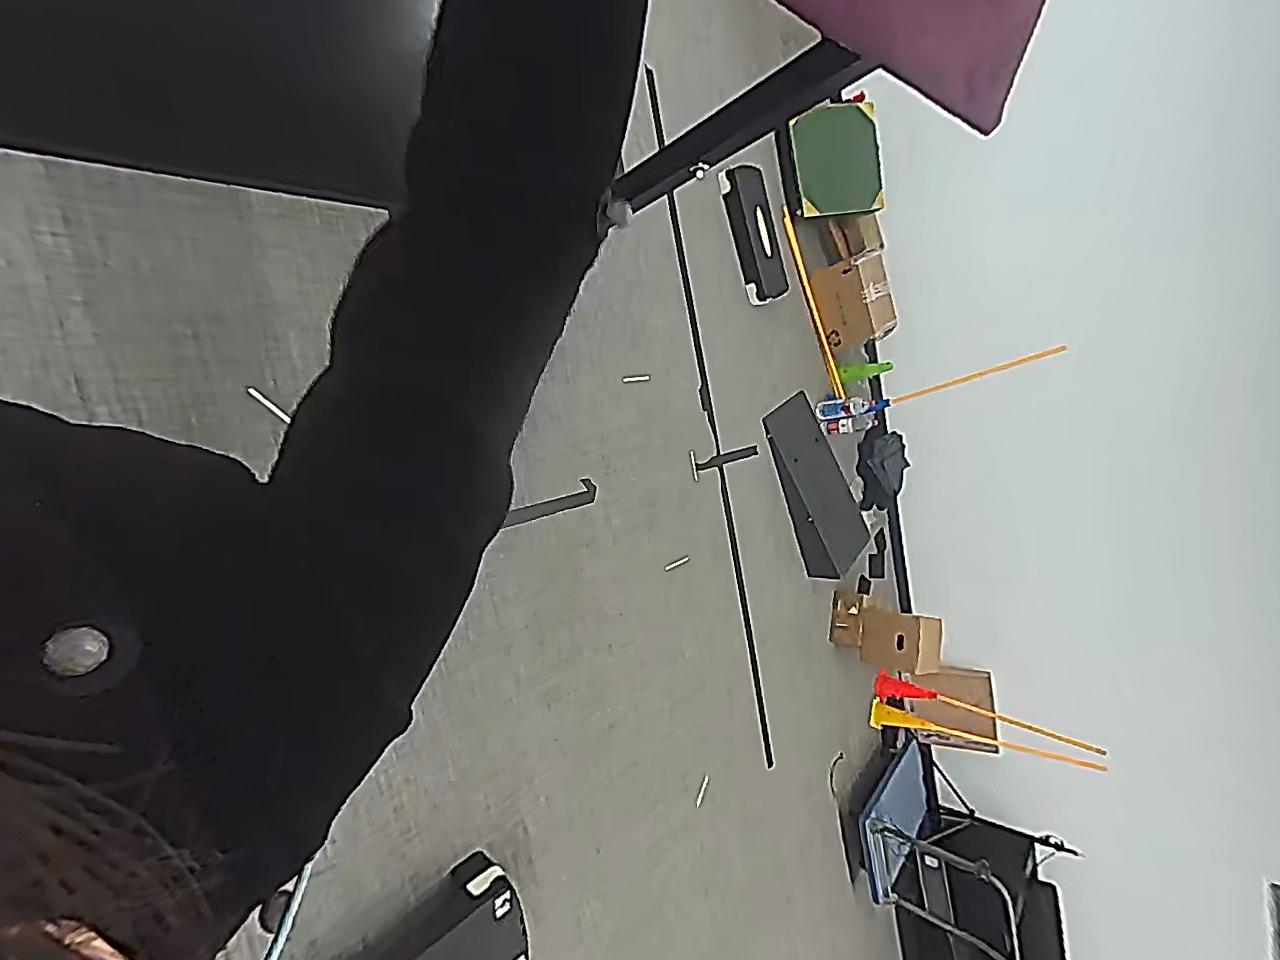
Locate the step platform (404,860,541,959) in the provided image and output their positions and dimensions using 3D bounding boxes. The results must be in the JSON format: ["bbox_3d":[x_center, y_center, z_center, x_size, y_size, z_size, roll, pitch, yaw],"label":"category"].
[{"bbox_3d":[-0.576,1.301,1.355,0.684,0.204,0.286,-8,92,-46],"label":"step platform"}]
